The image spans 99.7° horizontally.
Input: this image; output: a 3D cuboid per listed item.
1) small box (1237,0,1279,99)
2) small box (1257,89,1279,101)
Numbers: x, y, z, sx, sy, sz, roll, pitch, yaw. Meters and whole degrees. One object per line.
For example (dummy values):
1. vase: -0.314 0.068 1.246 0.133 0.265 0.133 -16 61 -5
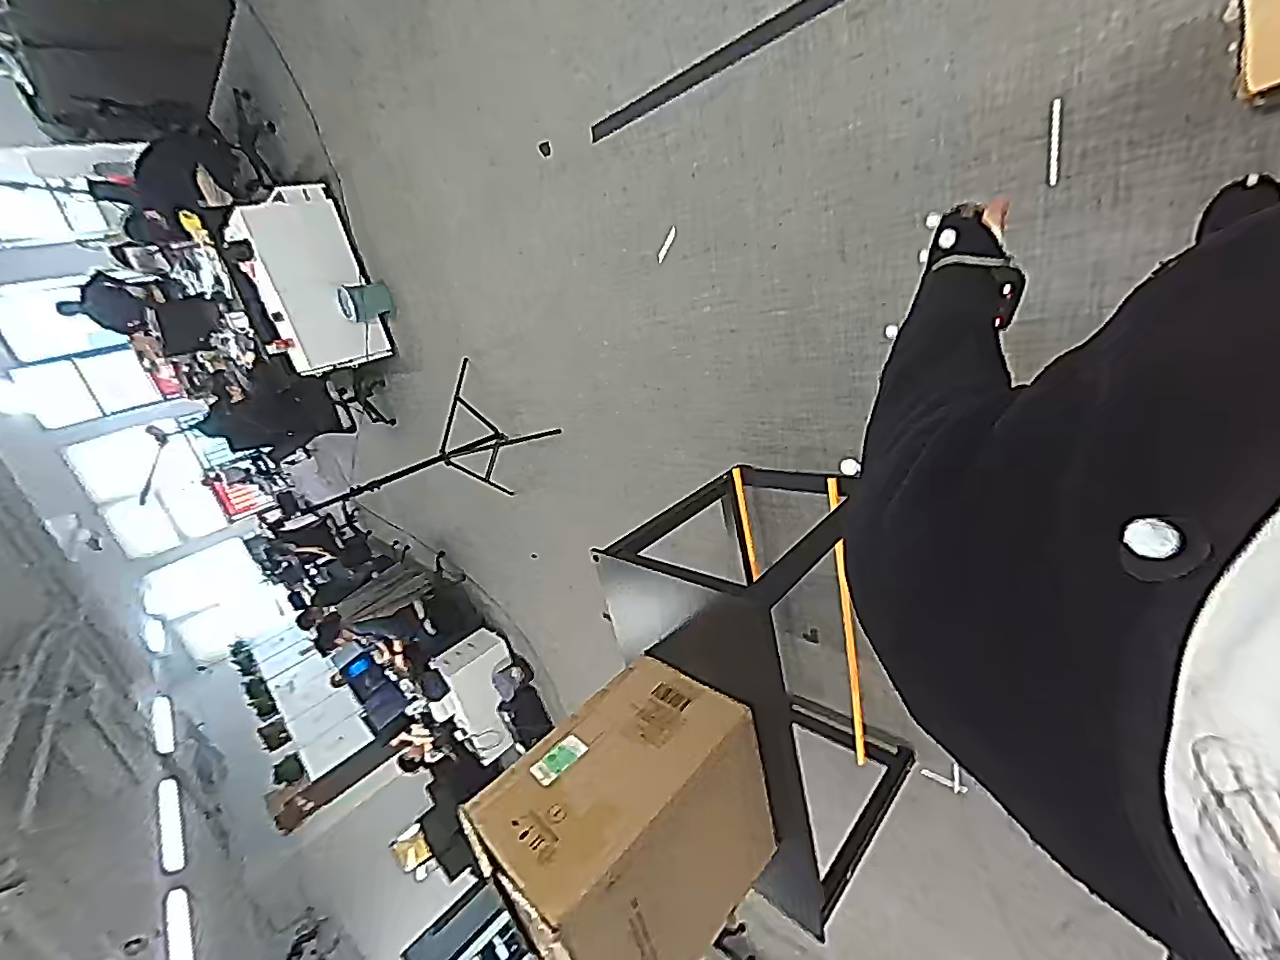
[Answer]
1. small box: 0.650 -0.471 0.472 0.168 0.176 0.179 0 114 51
2. small box: 0.769 -0.531 0.567 0.168 0.176 0.179 -2 113 51
